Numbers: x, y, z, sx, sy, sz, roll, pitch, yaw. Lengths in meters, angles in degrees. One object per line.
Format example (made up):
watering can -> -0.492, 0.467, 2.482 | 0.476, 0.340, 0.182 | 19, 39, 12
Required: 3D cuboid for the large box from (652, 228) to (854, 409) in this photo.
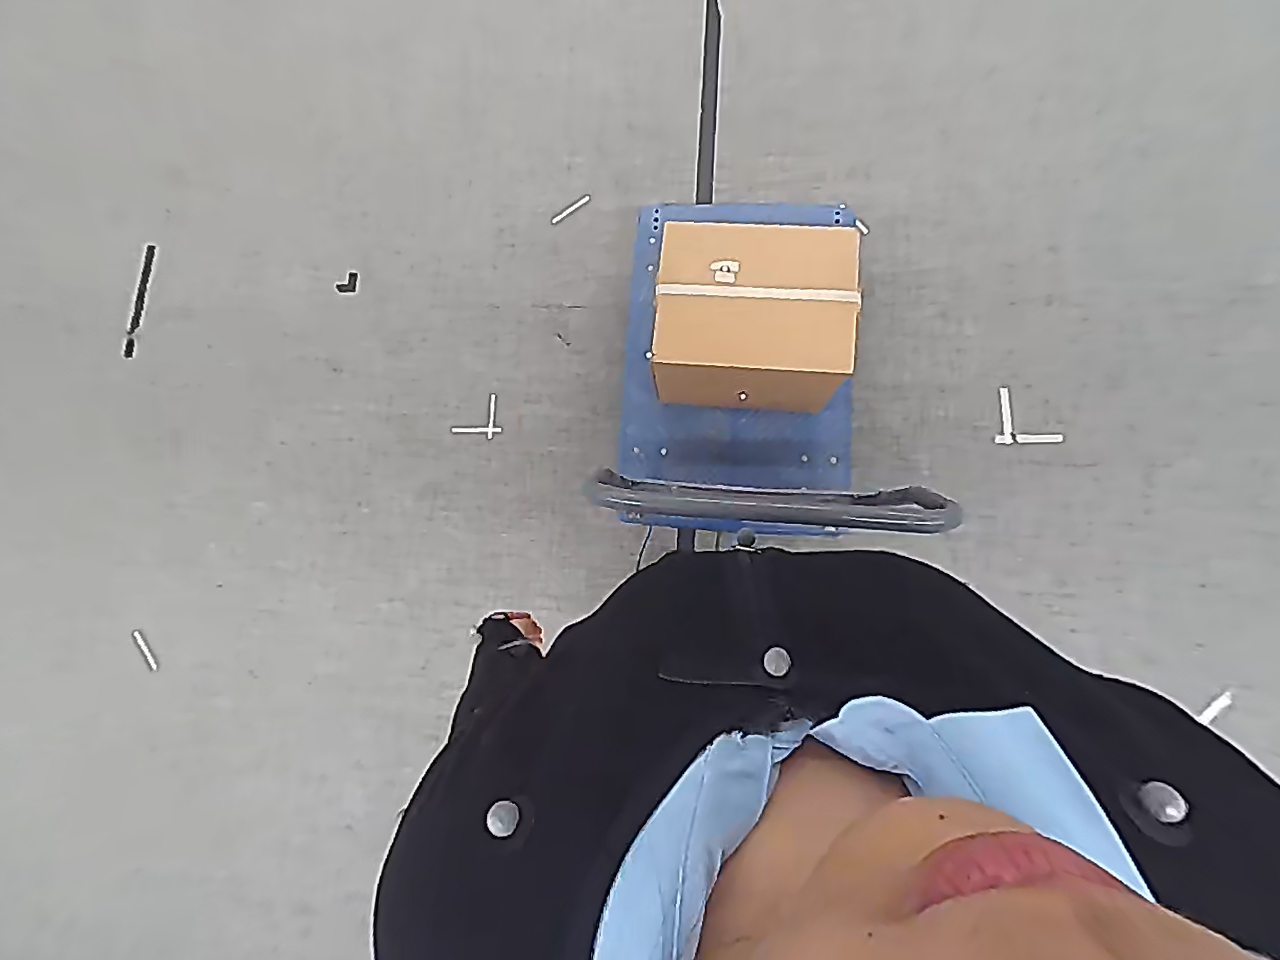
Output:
large box -> 0.253, -0.358, 1.263 | 0.408, 0.320, 0.320 | 4, 82, 7
